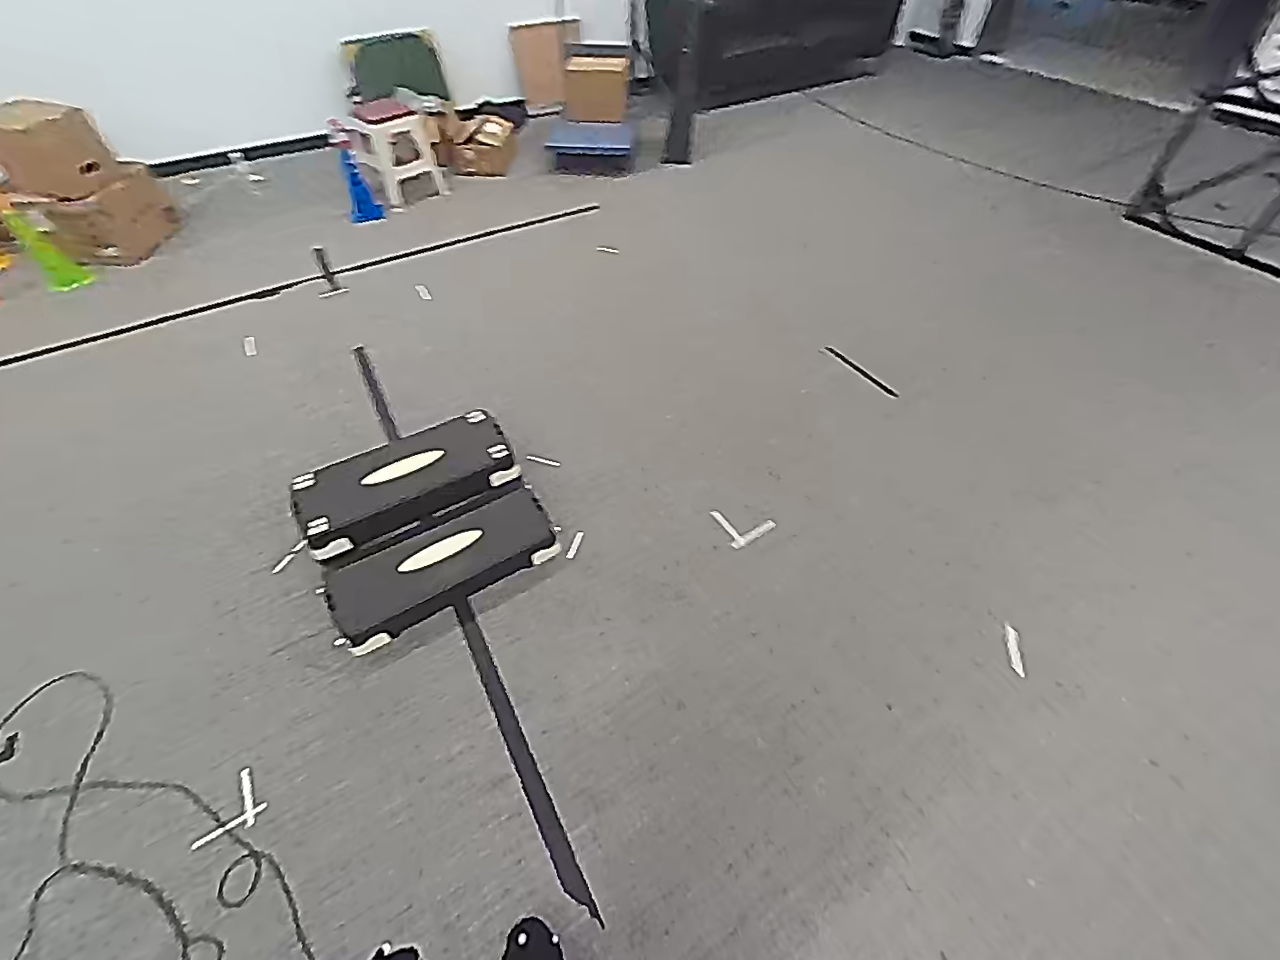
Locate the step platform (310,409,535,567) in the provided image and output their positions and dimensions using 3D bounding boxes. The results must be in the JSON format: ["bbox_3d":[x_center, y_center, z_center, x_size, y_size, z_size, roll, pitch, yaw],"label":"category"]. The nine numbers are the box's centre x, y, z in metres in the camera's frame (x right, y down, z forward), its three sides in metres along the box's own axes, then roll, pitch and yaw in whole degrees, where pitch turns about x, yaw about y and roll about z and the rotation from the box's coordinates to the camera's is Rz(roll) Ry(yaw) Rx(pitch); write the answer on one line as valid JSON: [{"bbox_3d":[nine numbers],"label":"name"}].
[{"bbox_3d":[-0.713,0.006,1.811,0.684,0.204,0.286,-25,54,-21],"label":"step platform"}]
